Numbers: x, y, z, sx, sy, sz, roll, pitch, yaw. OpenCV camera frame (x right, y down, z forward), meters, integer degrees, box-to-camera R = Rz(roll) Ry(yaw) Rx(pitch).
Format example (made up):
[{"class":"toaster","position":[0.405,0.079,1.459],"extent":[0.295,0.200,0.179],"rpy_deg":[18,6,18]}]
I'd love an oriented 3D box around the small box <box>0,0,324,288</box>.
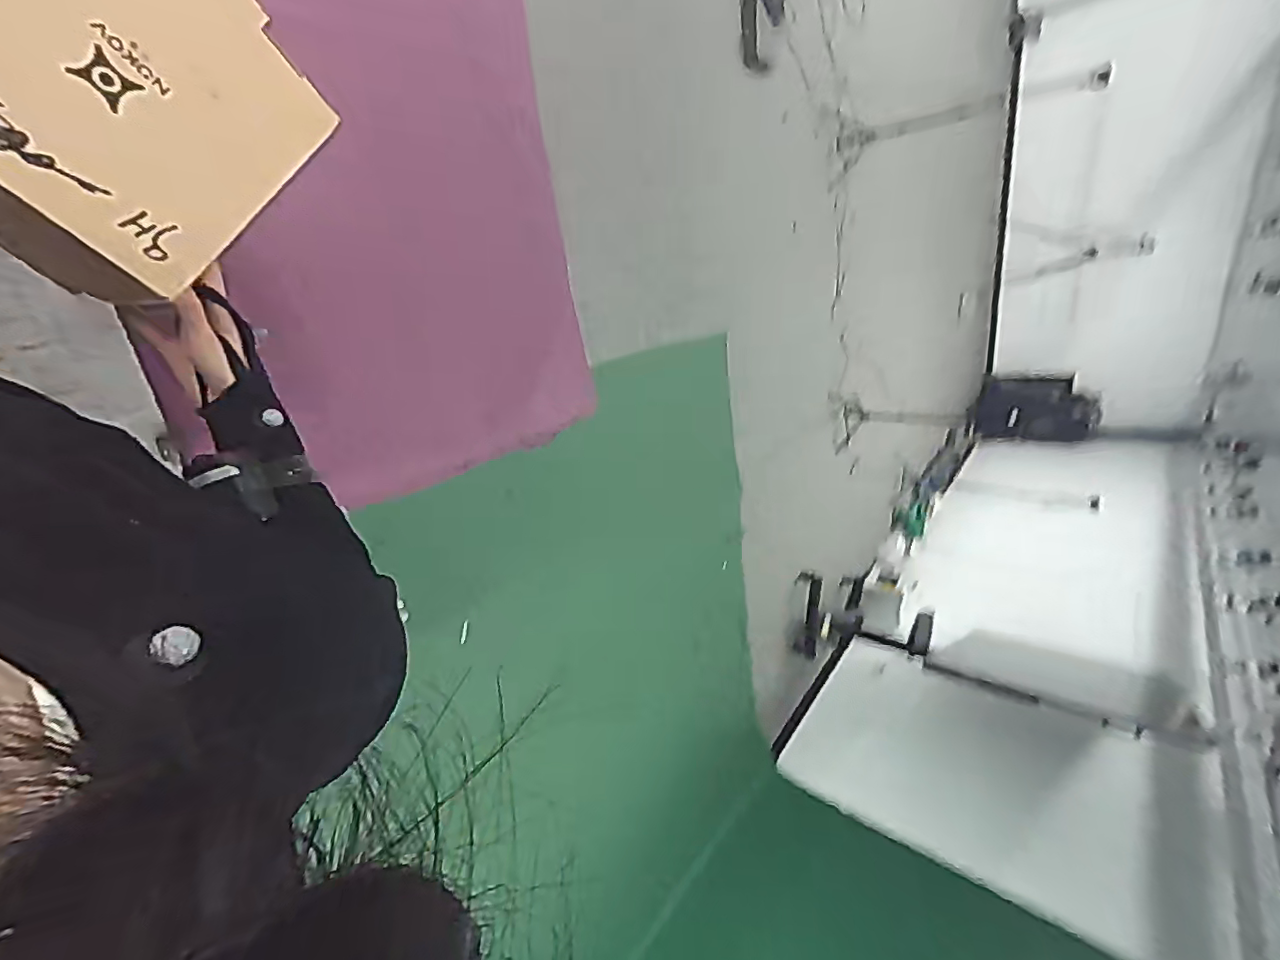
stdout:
[{"class":"small box","position":[-0.350,-0.241,0.329],"extent":[0.168,0.176,0.179],"rpy_deg":[49,61,-50]}]
